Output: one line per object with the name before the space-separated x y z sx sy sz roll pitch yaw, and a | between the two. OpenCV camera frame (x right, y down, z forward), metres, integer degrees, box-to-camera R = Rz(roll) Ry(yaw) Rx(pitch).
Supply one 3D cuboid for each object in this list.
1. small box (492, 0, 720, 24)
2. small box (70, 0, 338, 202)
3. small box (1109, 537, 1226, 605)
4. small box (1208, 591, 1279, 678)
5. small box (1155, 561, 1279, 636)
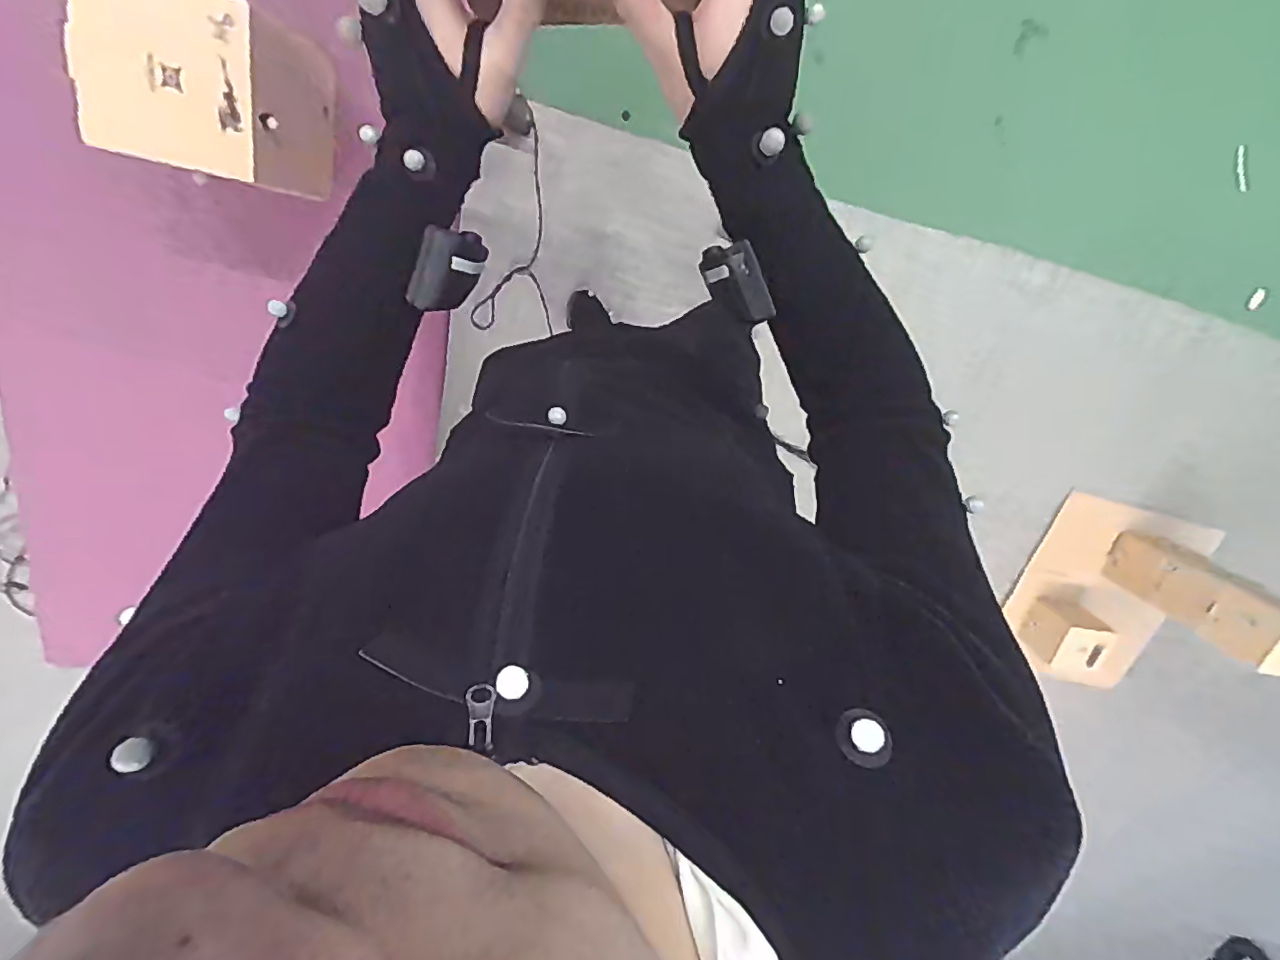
small box | -0.027 -0.373 0.274 0.168 0.176 0.179 0 105 0
small box | -0.483 -0.434 0.624 0.179 0.176 0.168 11 111 -5
small box | 1.689 0.296 1.743 0.179 0.176 0.168 7 110 -4
small box | 1.701 0.415 1.440 0.179 0.176 0.168 10 109 -7
small box | 1.695 0.353 1.590 0.179 0.176 0.168 10 110 -6
